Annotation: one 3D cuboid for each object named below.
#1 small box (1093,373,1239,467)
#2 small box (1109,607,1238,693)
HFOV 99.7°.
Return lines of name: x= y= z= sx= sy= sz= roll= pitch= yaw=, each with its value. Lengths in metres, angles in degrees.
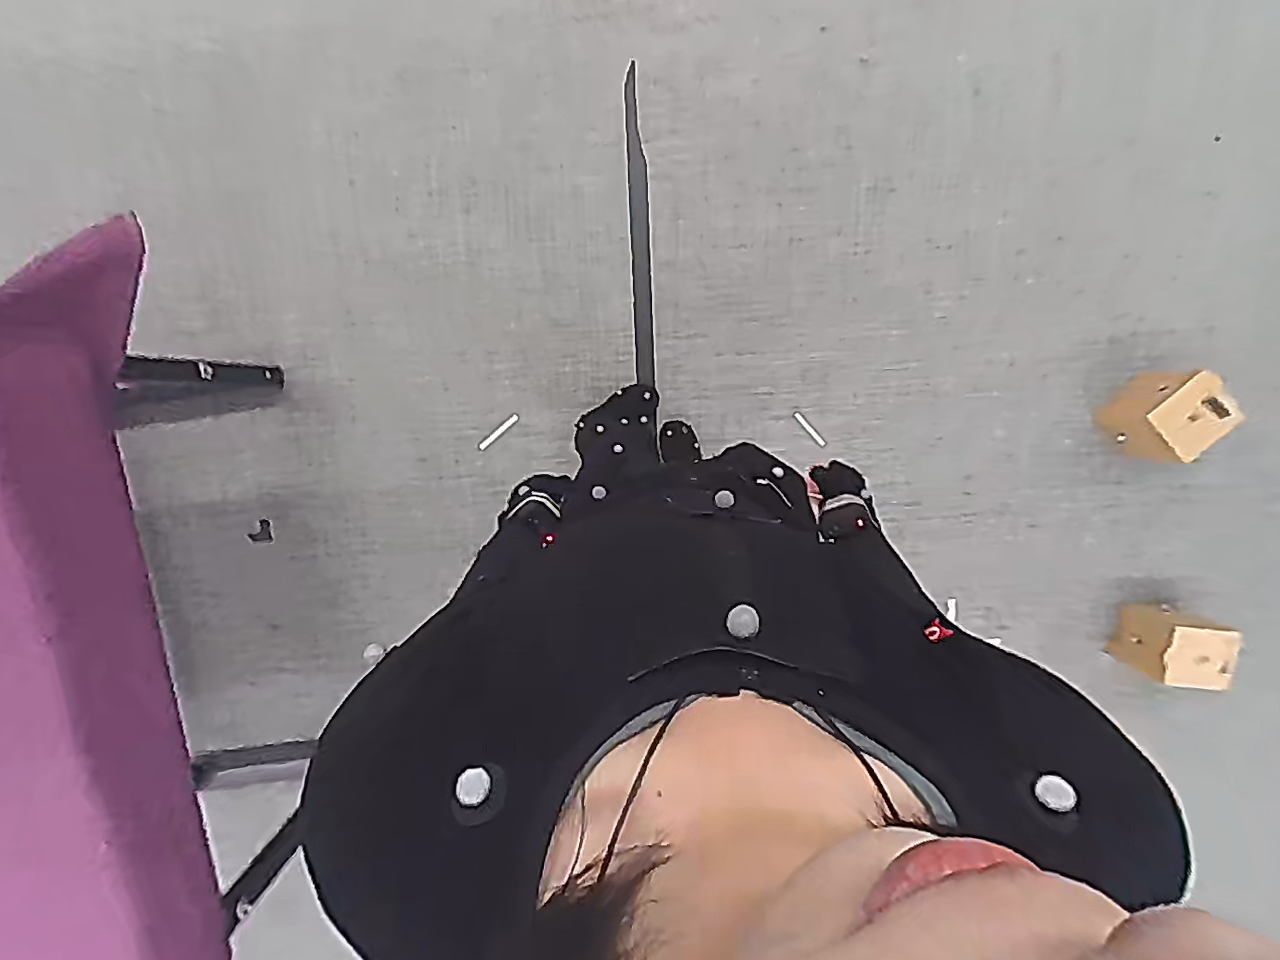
small box: x=1.347 y=-0.158 z=1.399 sx=0.179 sy=0.176 sz=0.168 roll=-43 pitch=95 yaw=7
small box: x=1.453 y=0.459 z=1.486 sx=0.179 sy=0.176 sz=0.168 roll=6 pitch=98 yaw=1
